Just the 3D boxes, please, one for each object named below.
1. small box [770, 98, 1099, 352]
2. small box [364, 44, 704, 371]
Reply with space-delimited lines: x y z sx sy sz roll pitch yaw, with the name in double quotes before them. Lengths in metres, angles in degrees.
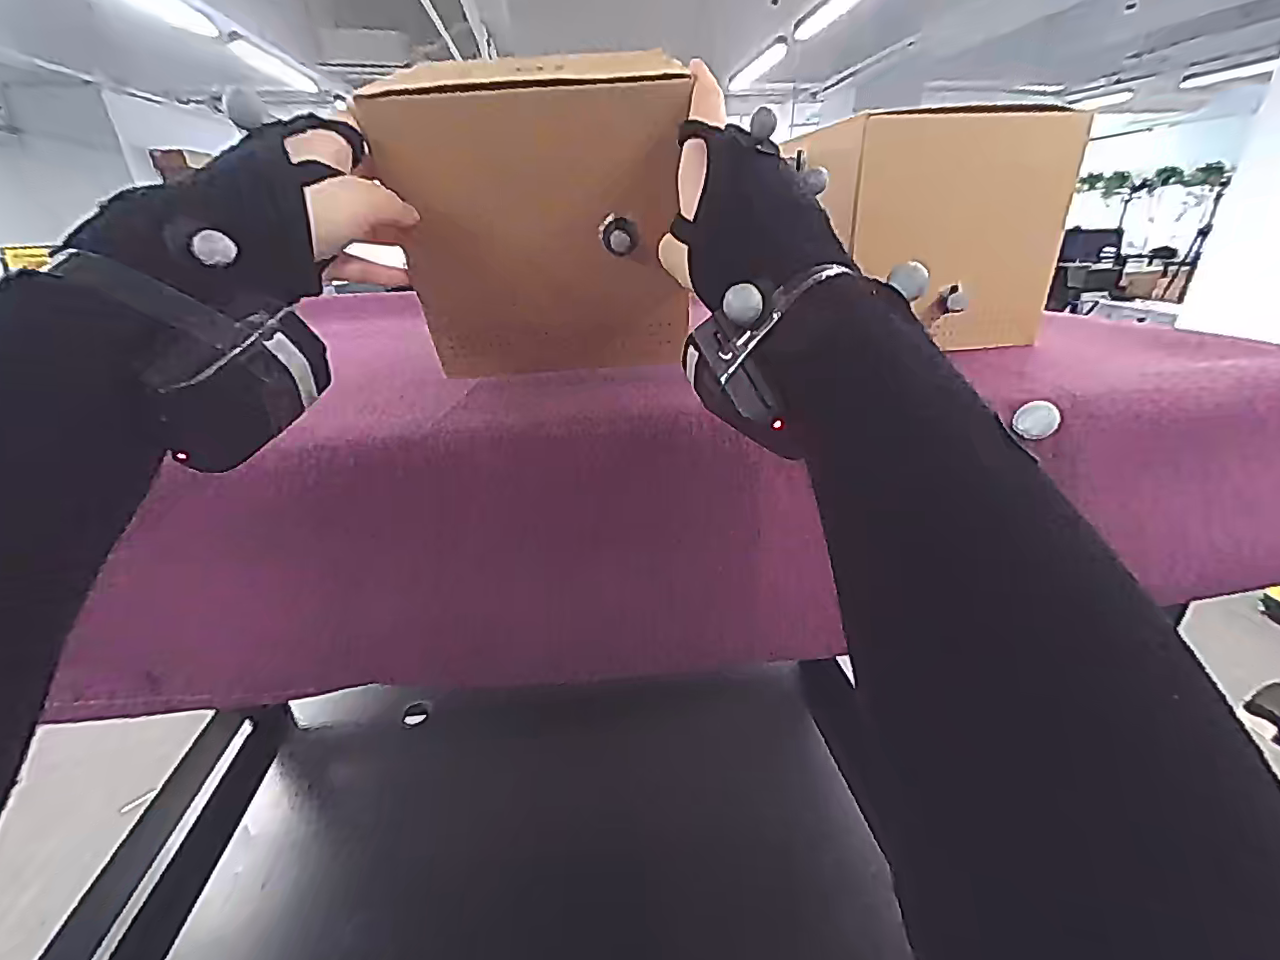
"small box" 0.227 -0.213 0.470 0.179 0.176 0.168 -5 24 -7
"small box" -0.055 -0.193 0.386 0.179 0.176 0.168 -5 41 -1
